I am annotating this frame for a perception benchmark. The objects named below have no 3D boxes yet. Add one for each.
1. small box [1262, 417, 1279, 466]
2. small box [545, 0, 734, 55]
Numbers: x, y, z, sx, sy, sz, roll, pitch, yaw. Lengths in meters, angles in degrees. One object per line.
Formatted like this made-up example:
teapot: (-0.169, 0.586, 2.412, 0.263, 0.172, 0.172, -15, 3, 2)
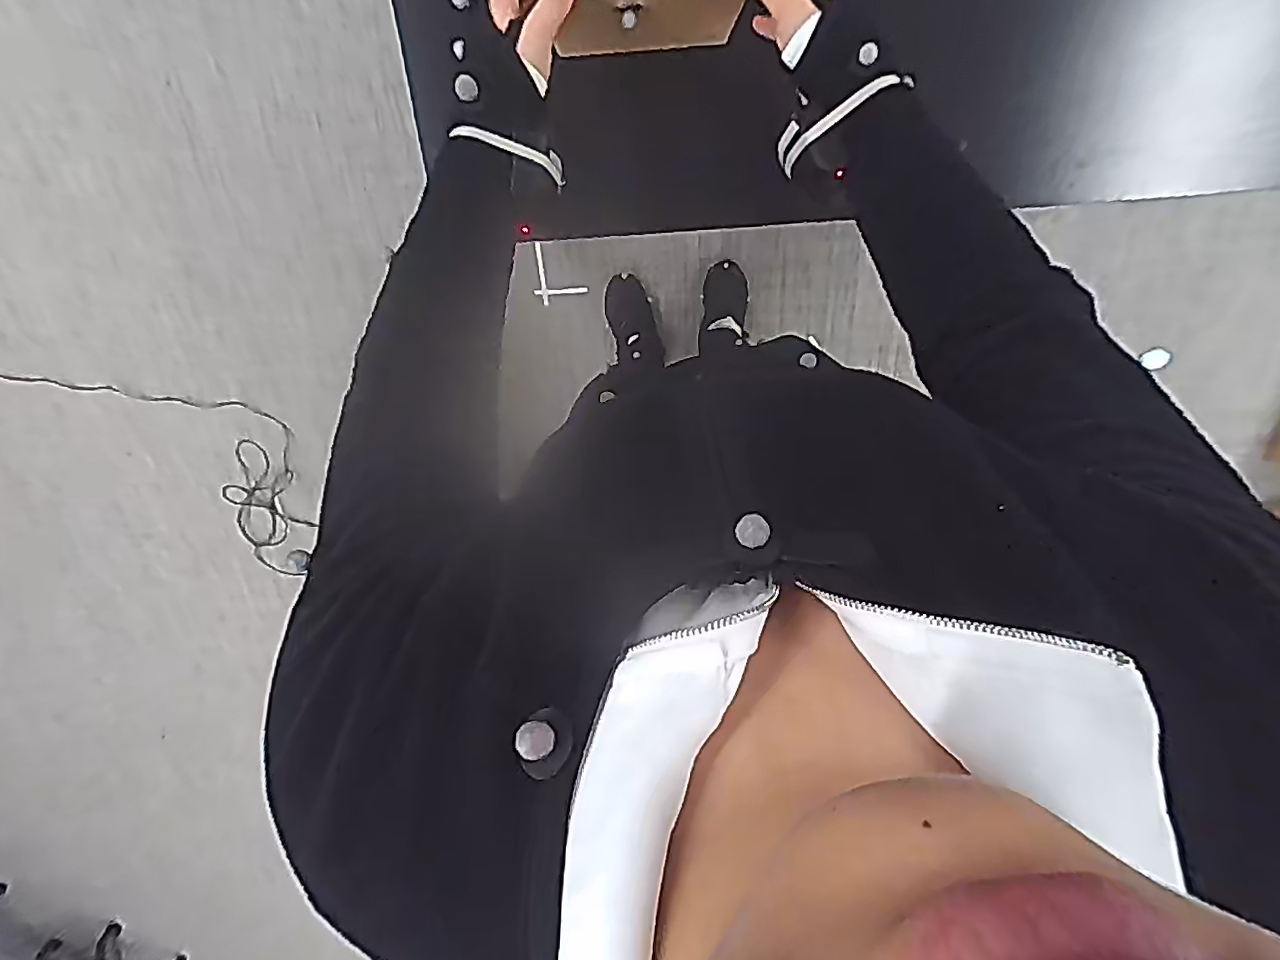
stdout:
small box: (1.838, -0.102, 1.431, 0.168, 0.176, 0.179, -1, 115, 1)
small box: (-0.003, -0.491, 0.462, 0.179, 0.176, 0.168, -4, 115, 1)
